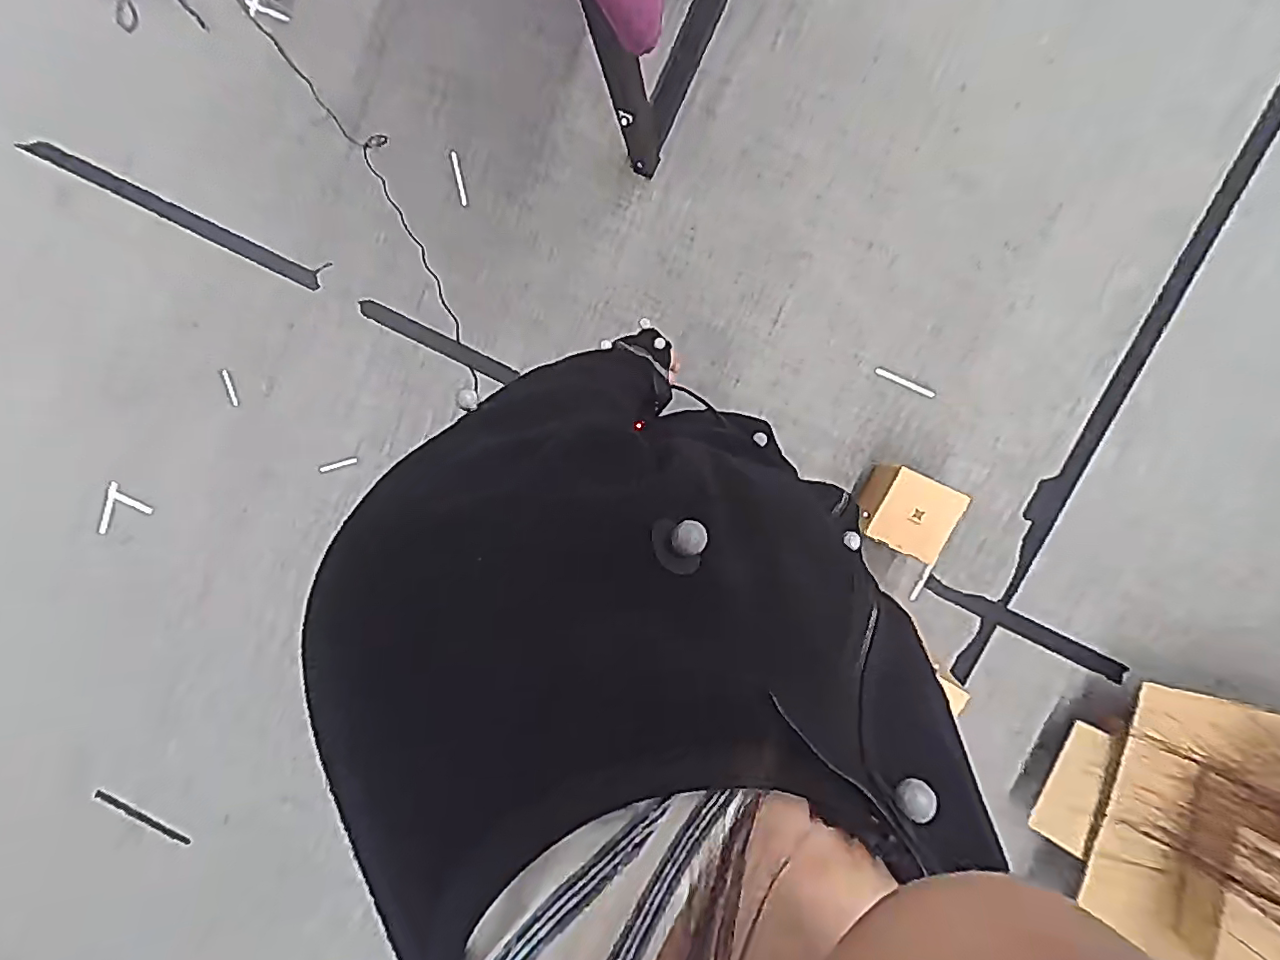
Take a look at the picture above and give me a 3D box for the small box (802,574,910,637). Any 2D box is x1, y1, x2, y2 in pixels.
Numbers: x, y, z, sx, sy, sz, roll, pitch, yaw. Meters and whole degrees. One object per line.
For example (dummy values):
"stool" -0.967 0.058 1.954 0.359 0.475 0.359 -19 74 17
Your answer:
"small box" 0.521 0.350 1.336 0.179 0.176 0.168 25 99 4

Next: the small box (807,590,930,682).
"small box" 0.482 0.365 1.175 0.168 0.176 0.179 27 100 5

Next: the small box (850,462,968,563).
"small box" 0.628 0.069 1.291 0.168 0.176 0.179 26 99 4

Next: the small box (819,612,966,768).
"small box" 0.457 0.382 1.014 0.168 0.176 0.179 31 100 4
